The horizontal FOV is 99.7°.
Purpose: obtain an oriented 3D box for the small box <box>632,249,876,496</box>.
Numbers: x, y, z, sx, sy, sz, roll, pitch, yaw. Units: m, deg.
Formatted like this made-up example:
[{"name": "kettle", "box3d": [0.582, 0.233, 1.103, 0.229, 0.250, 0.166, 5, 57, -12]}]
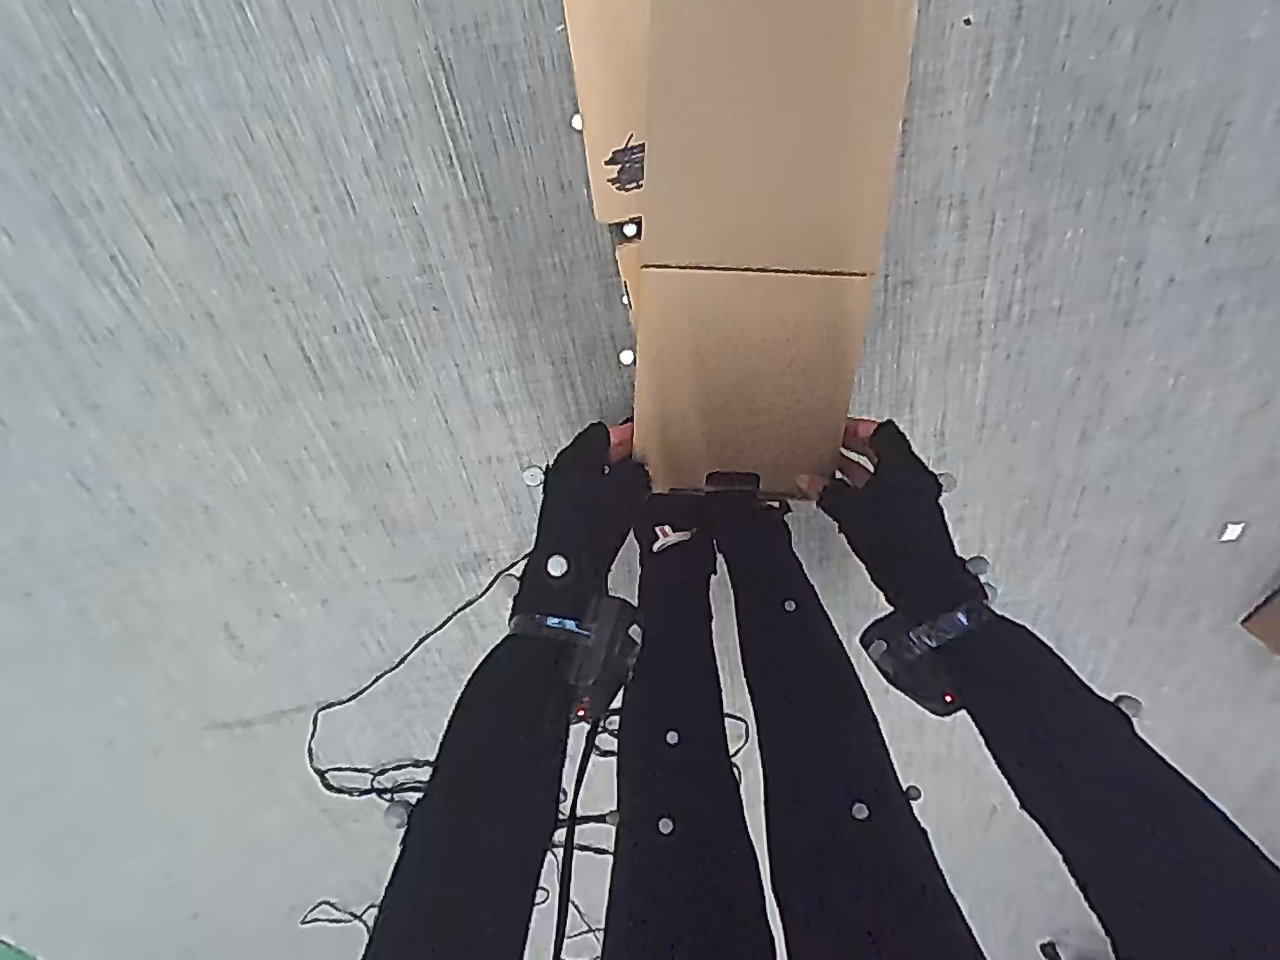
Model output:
[{"name": "small box", "box3d": [0.079, -0.102, 0.474, 0.168, 0.176, 0.179, 1, 116, 0]}]
